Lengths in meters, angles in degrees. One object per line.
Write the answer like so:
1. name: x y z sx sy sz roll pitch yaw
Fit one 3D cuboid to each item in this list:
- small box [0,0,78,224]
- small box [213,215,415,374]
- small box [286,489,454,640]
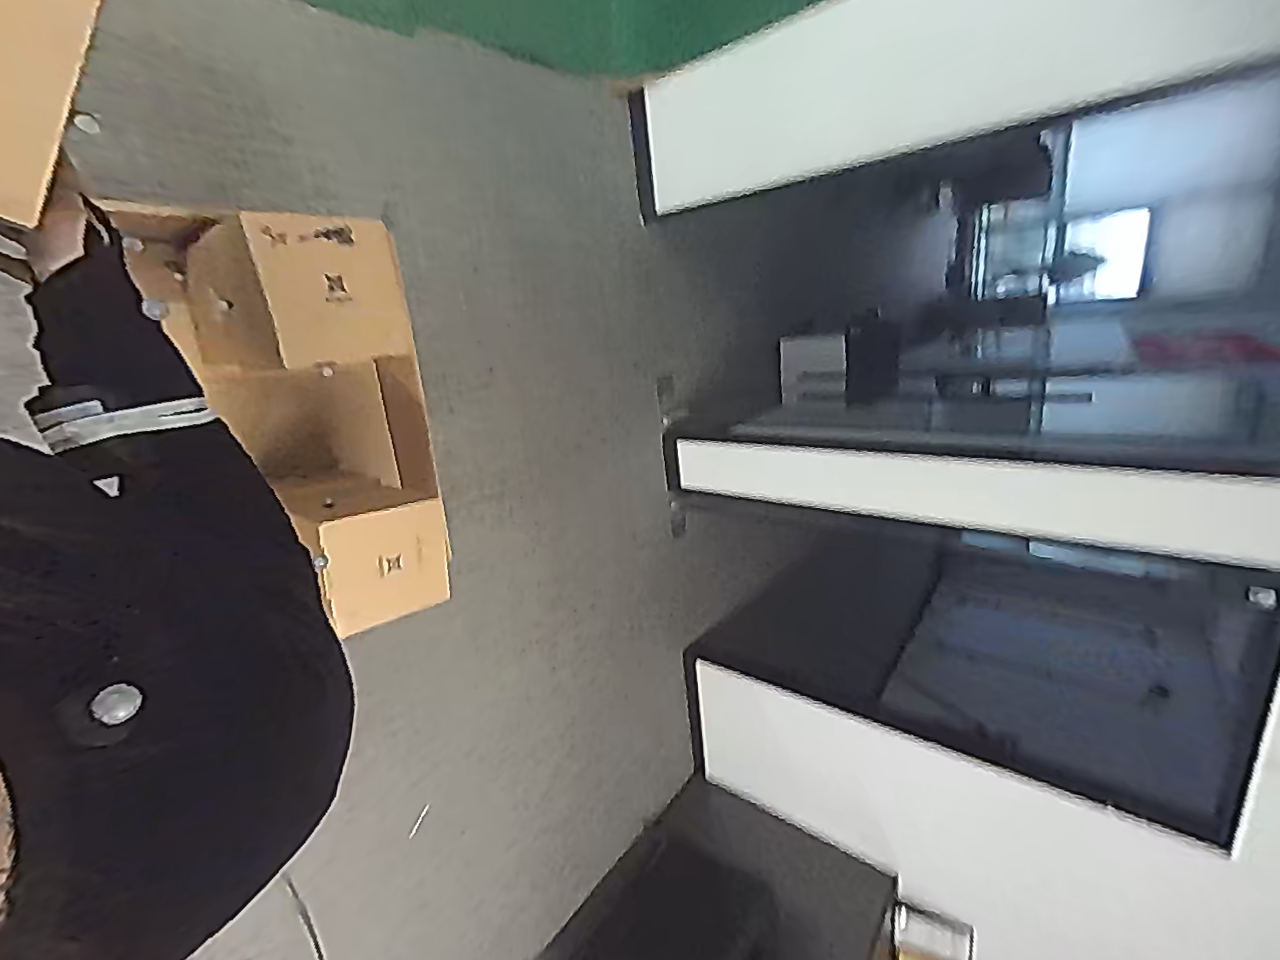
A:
1. small box: -0.432 -0.259 0.285 0.168 0.176 0.179 14 95 -53
2. small box: -0.434 -0.240 0.726 0.168 0.176 0.179 -24 114 -46
3. small box: -0.408 0.114 0.815 0.179 0.176 0.168 -14 108 -49
